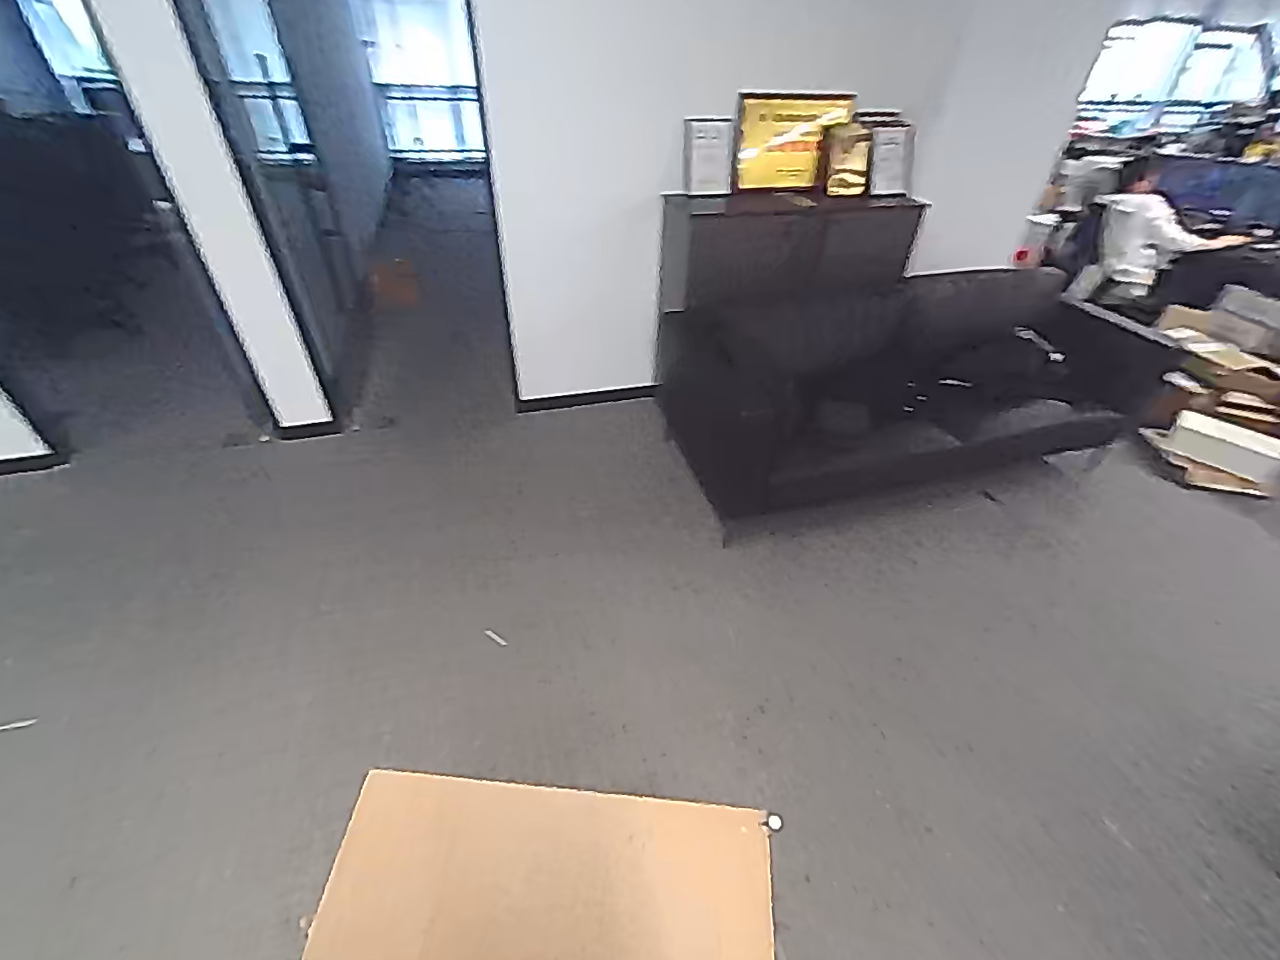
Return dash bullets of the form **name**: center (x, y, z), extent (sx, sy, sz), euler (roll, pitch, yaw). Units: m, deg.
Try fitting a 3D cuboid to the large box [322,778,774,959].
- **large box**: center (-0.091, 0.529, 0.578), extent (0.408, 0.320, 0.320), euler (5, 53, -2)
